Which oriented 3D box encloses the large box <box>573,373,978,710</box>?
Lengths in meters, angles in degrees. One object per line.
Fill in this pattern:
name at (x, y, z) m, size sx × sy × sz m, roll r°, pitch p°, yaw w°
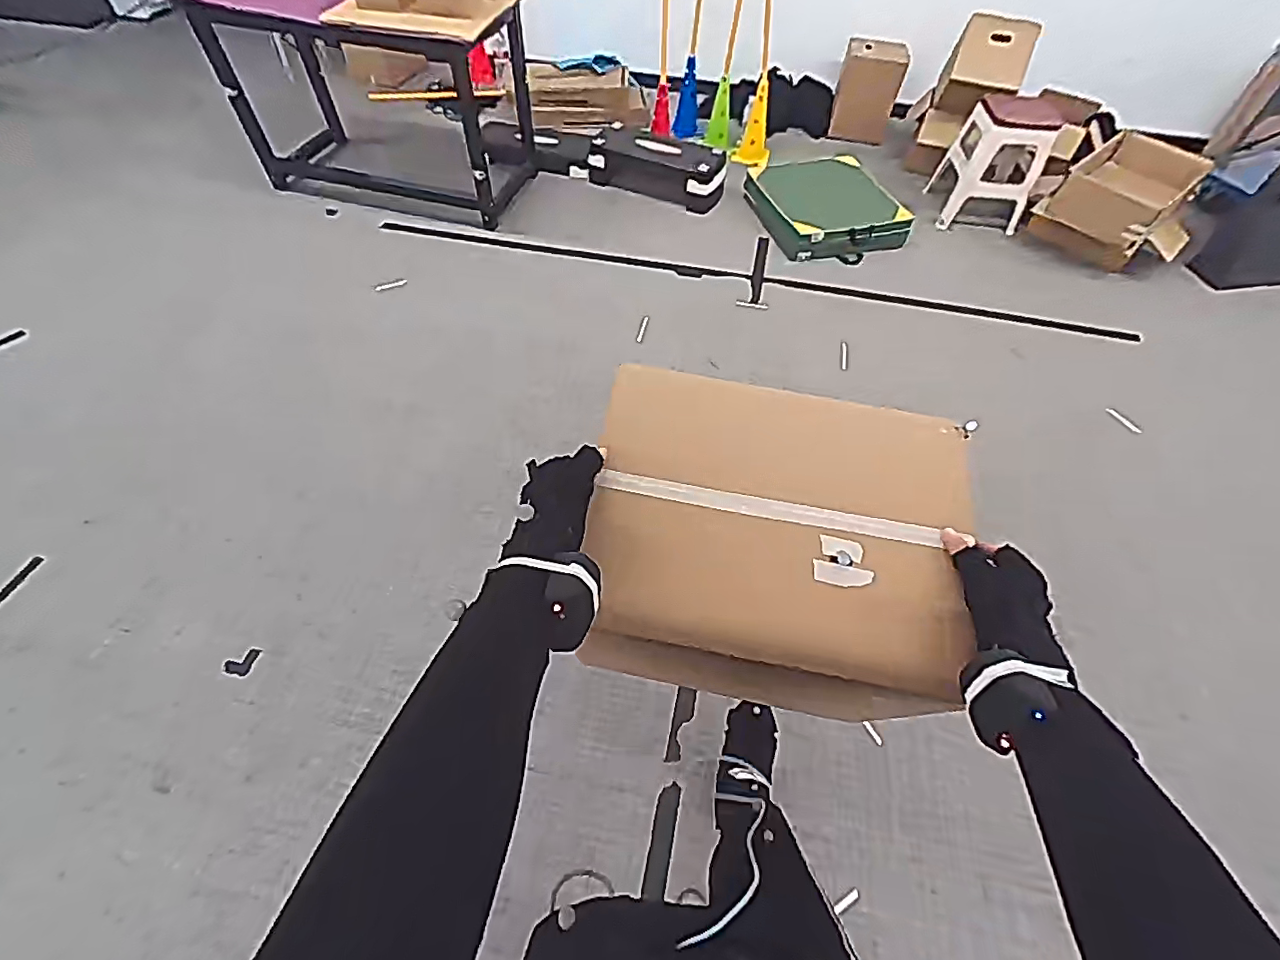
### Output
large box at (0.148, 0.099, 0.721) m, size 0.408 × 0.320 × 0.320 m, roll 11°, pitch 65°, yaw 4°
